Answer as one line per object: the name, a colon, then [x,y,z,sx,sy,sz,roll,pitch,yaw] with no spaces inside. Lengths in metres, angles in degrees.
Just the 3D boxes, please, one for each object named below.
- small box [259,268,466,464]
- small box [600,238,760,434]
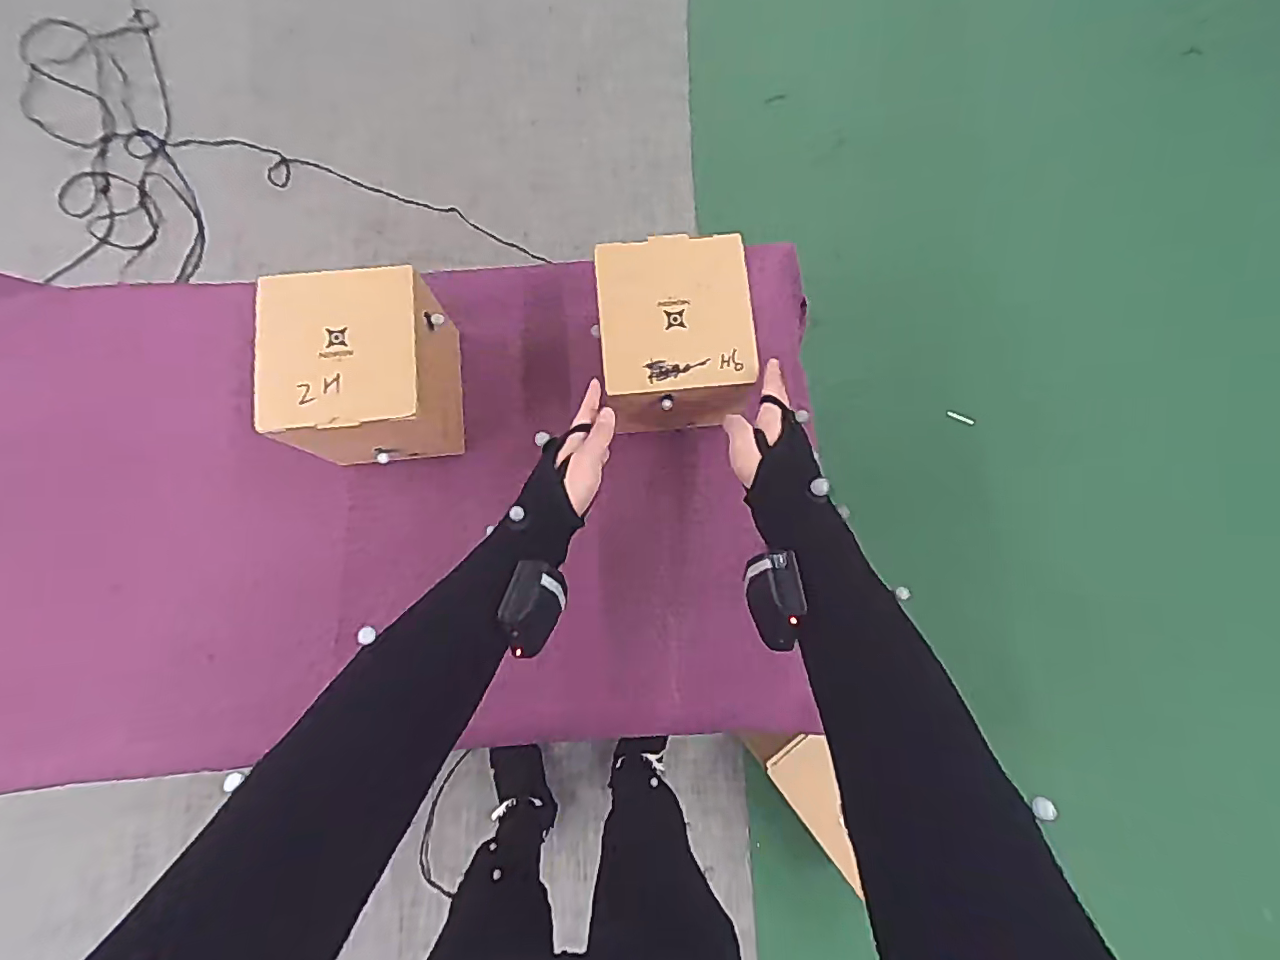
small box: [-0.316,-0.126,0.649,0.168,0.176,0.179,-5,80,-2]
small box: [0.040,-0.166,0.665,0.168,0.176,0.179,-5,81,0]
